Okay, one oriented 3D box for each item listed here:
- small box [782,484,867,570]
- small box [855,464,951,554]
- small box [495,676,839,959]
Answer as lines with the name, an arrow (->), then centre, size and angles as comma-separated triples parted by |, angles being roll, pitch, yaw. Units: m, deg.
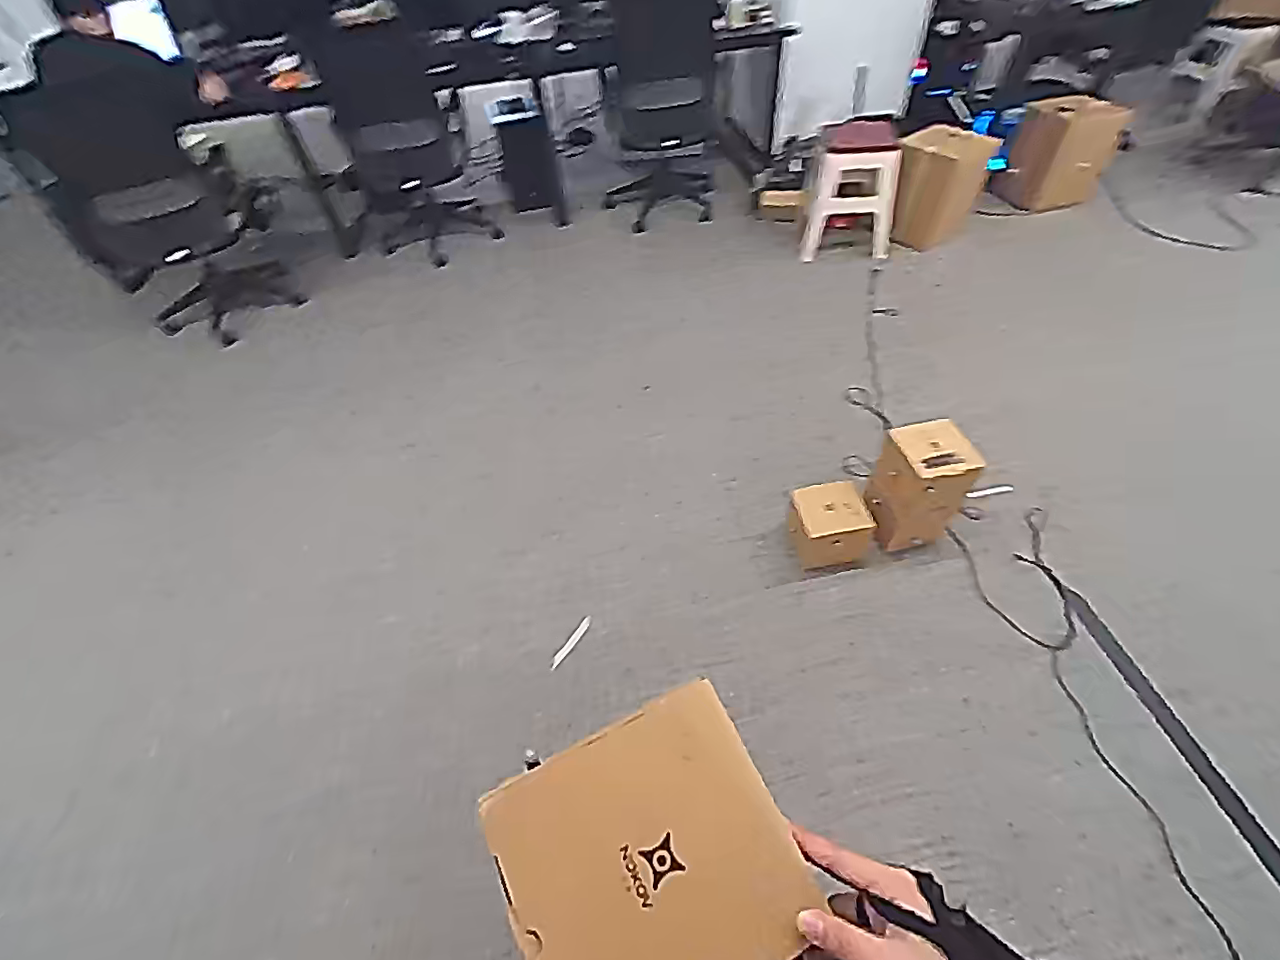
small box -> 0.507, 0.136, 1.518 | 0.179, 0.176, 0.168 | -9, 50, -1
small box -> 0.735, 0.085, 1.541 | 0.168, 0.176, 0.179 | -12, 51, -5
small box -> 0.007, 0.270, 0.414 | 0.179, 0.176, 0.168 | -22, 69, -16
